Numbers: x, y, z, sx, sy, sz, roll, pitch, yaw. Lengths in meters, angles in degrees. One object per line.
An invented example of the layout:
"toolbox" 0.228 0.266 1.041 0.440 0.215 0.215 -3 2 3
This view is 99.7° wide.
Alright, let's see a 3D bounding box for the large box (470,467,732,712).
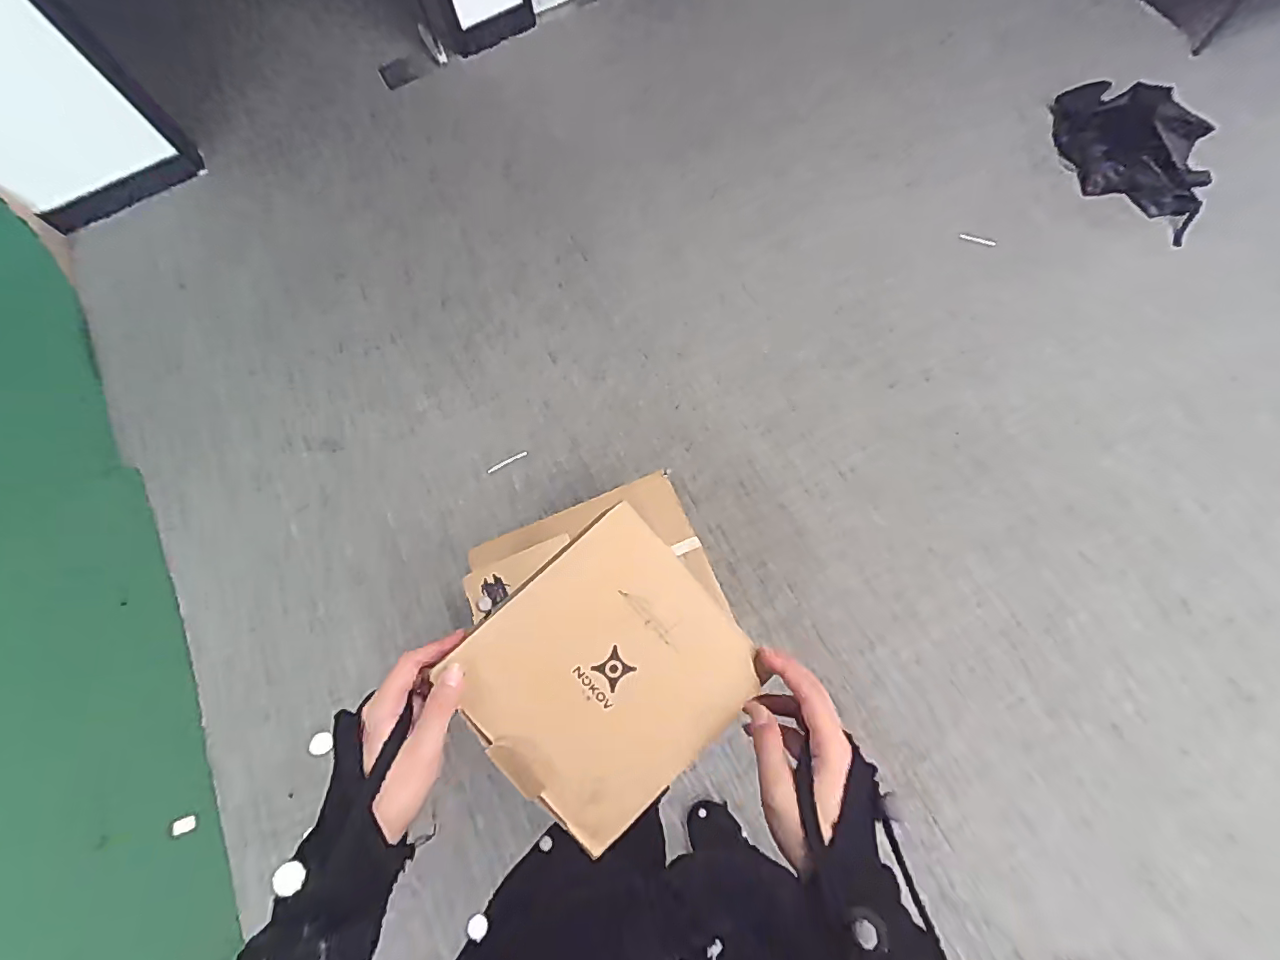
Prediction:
"large box" -0.071 0.231 1.109 0.408 0.320 0.320 -23 73 -5
